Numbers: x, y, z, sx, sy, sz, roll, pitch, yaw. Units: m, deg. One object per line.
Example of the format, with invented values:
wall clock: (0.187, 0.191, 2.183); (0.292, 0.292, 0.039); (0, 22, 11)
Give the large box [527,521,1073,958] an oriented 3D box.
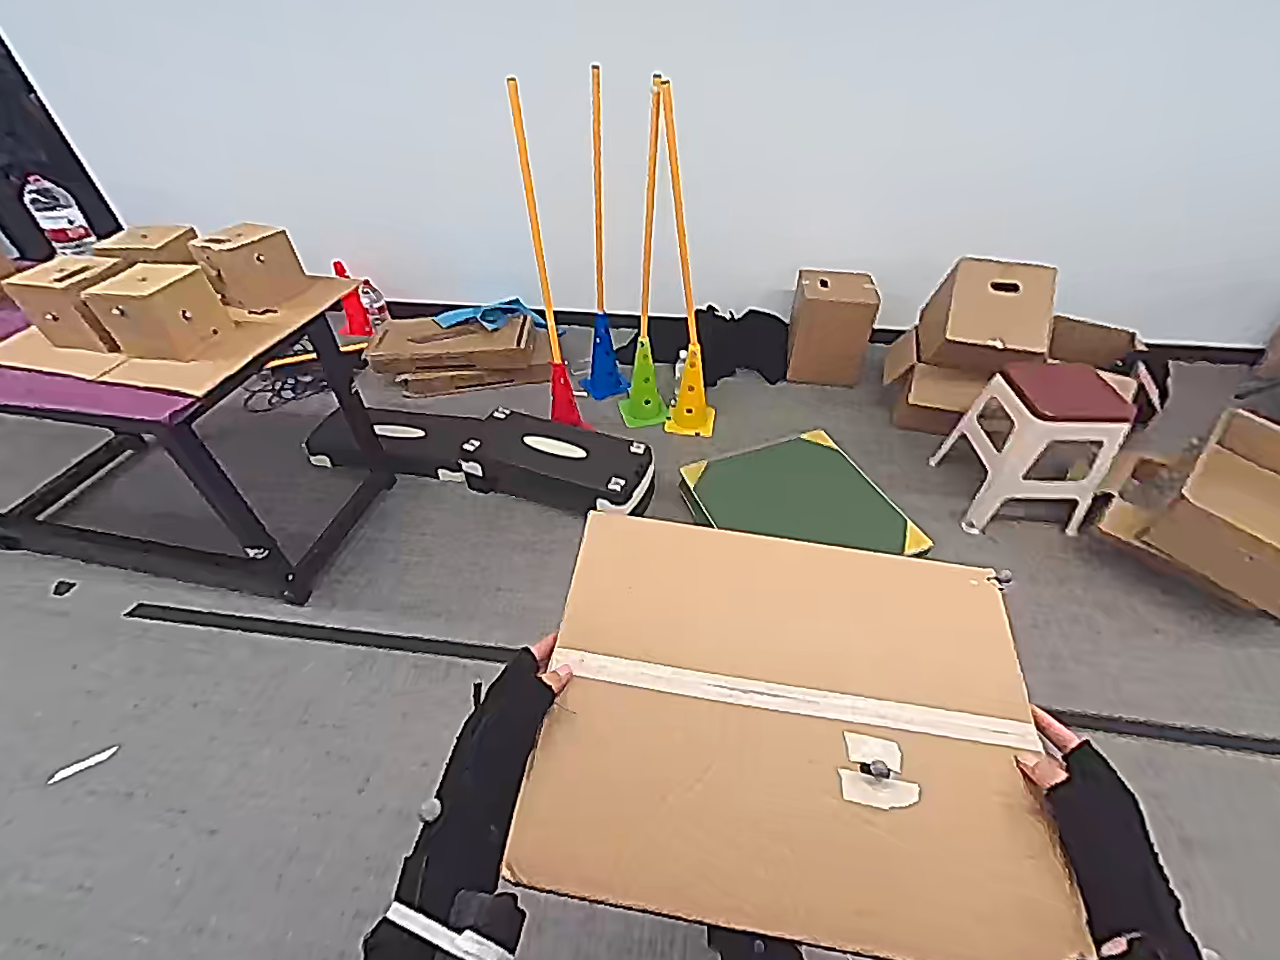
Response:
large box: (0.124, 0.275, 0.595); (0.408, 0.320, 0.320); (8, 55, 3)
